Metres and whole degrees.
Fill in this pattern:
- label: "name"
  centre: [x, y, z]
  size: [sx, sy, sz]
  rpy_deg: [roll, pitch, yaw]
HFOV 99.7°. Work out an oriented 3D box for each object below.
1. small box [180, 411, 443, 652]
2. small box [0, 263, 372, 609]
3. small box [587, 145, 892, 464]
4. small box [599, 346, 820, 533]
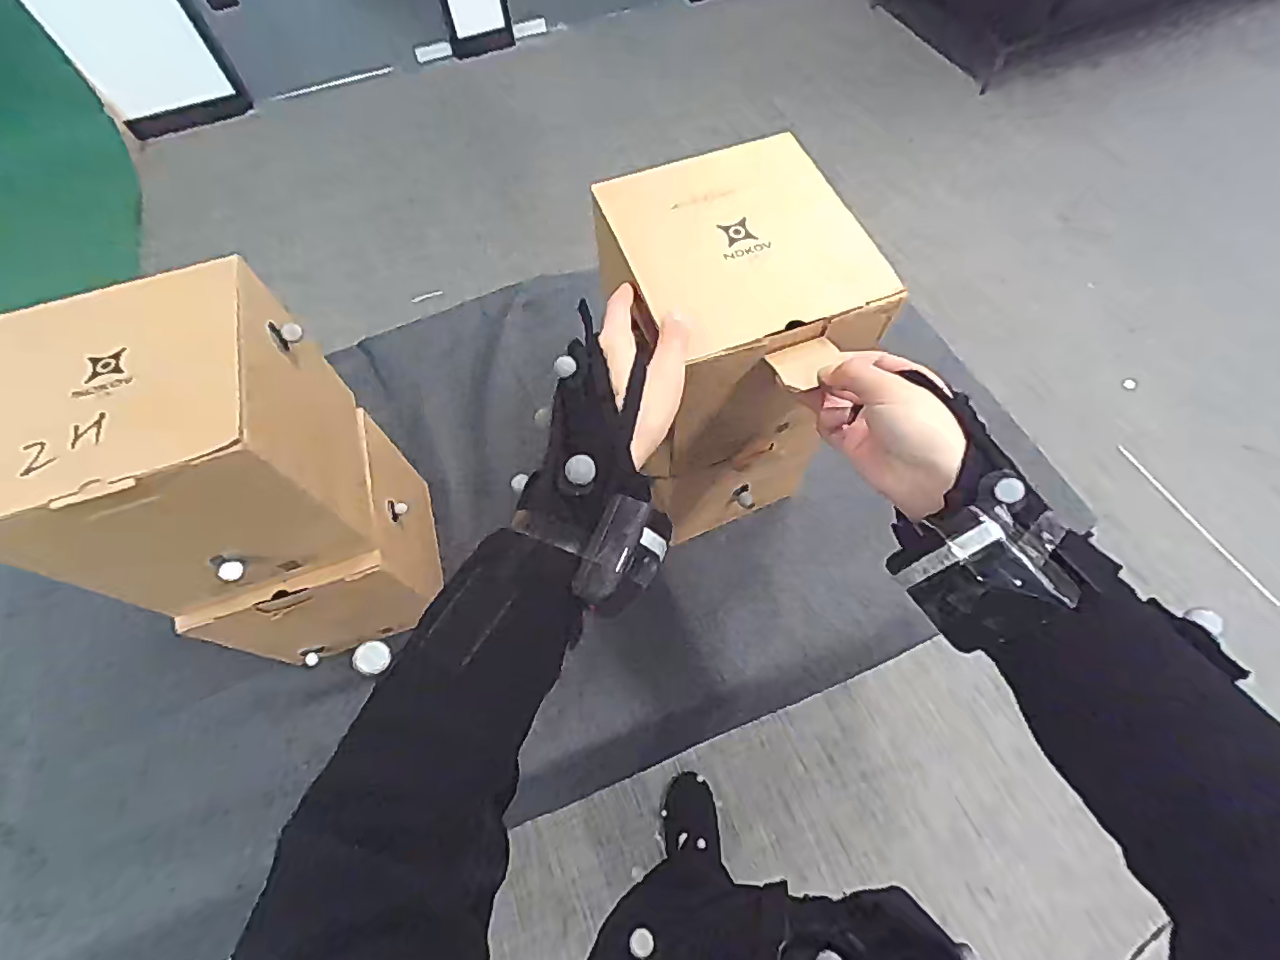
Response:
- label: "small box"
  centre: [-0.317, 0.064, 0.554]
  size: [0.168, 0.176, 0.179]
  rpy_deg: [-17, 62, -7]
- label: "small box"
  centre: [-0.331, -0.026, 0.415]
  size: [0.168, 0.176, 0.179]
  rpy_deg: [-19, 62, -7]
- label: "small box"
  centre: [0.067, -0.132, 0.454]
  size: [0.168, 0.176, 0.179]
  rpy_deg: [-19, 65, -8]
- label: "small box"
  centre: [0.067, -0.058, 0.603]
  size: [0.168, 0.176, 0.179]
  rpy_deg: [-22, 64, -9]
